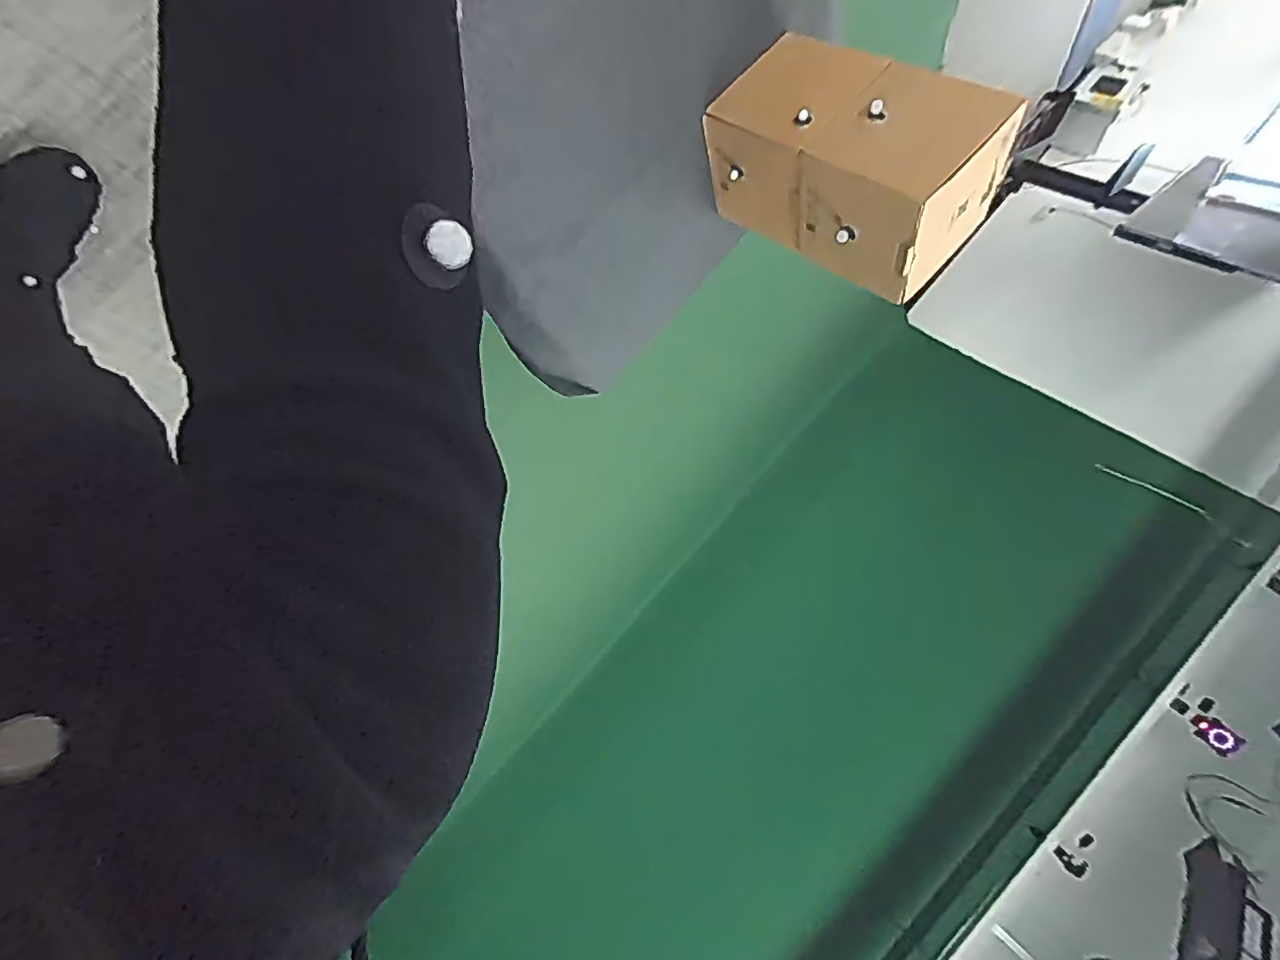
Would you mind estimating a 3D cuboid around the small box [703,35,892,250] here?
[{"bbox_3d":[0.213,-0.472,0.756,0.179,0.176,0.168,-46,154,-5],"label":"small box"}]

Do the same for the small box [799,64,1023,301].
[{"bbox_3d":[0.319,-0.372,0.681,0.179,0.176,0.168,-45,154,-5],"label":"small box"}]
